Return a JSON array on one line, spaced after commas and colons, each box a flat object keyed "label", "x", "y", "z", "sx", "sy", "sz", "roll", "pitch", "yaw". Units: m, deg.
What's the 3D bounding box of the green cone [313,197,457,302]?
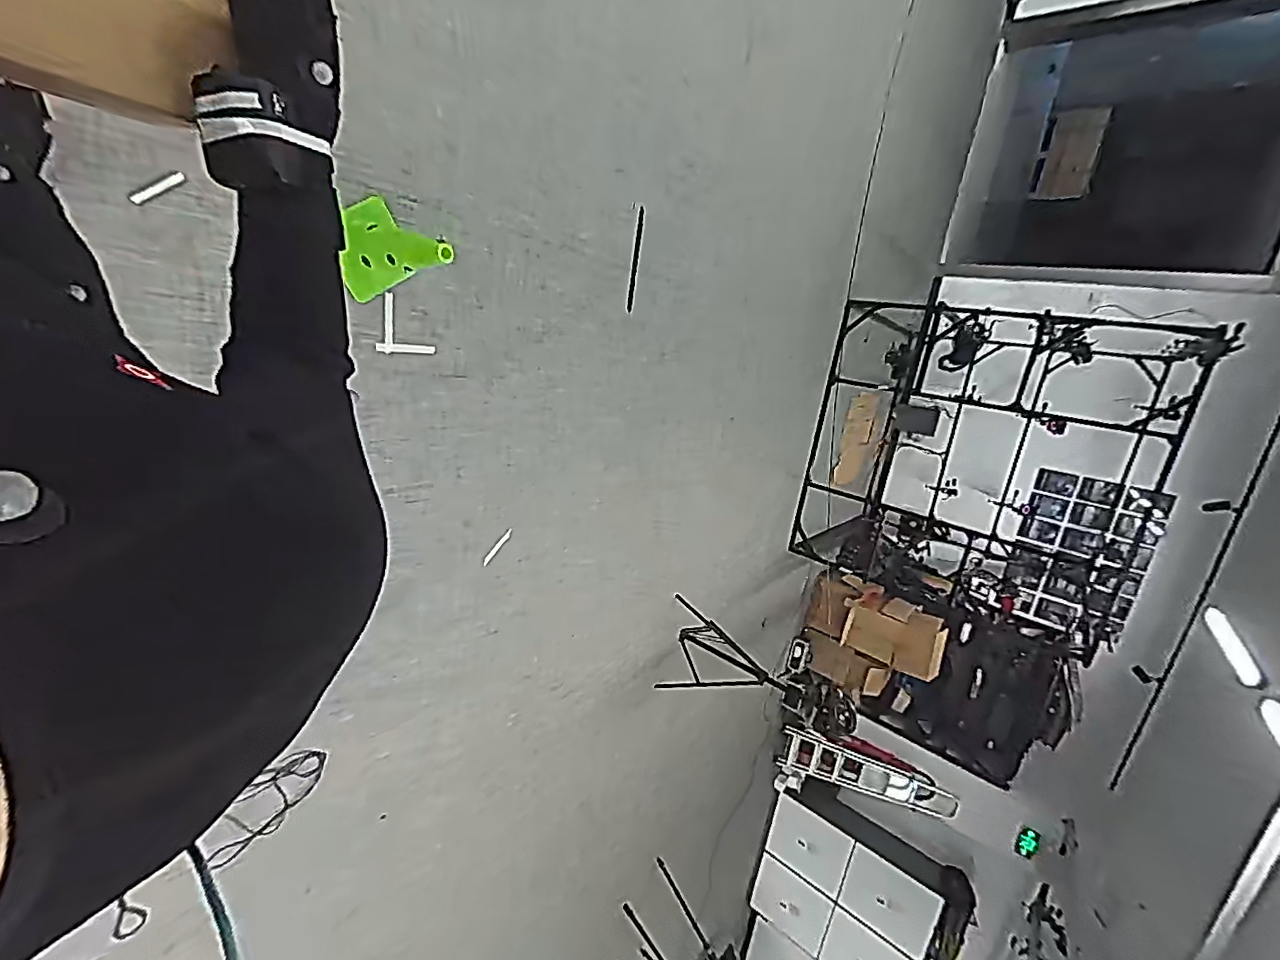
[{"label": "green cone", "x": -0.559, "y": -0.538, "z": 1.278, "sx": 0.202, "sy": 0.368, "sz": 0.200, "roll": -50, "pitch": 141, "yaw": -29}]

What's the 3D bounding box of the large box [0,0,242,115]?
[{"label": "large box", "x": -0.496, "y": -0.443, "z": 0.285, "sx": 0.408, "sy": 0.320, "sz": 0.320, "roll": -8, "pitch": 120, "yaw": -50}]
